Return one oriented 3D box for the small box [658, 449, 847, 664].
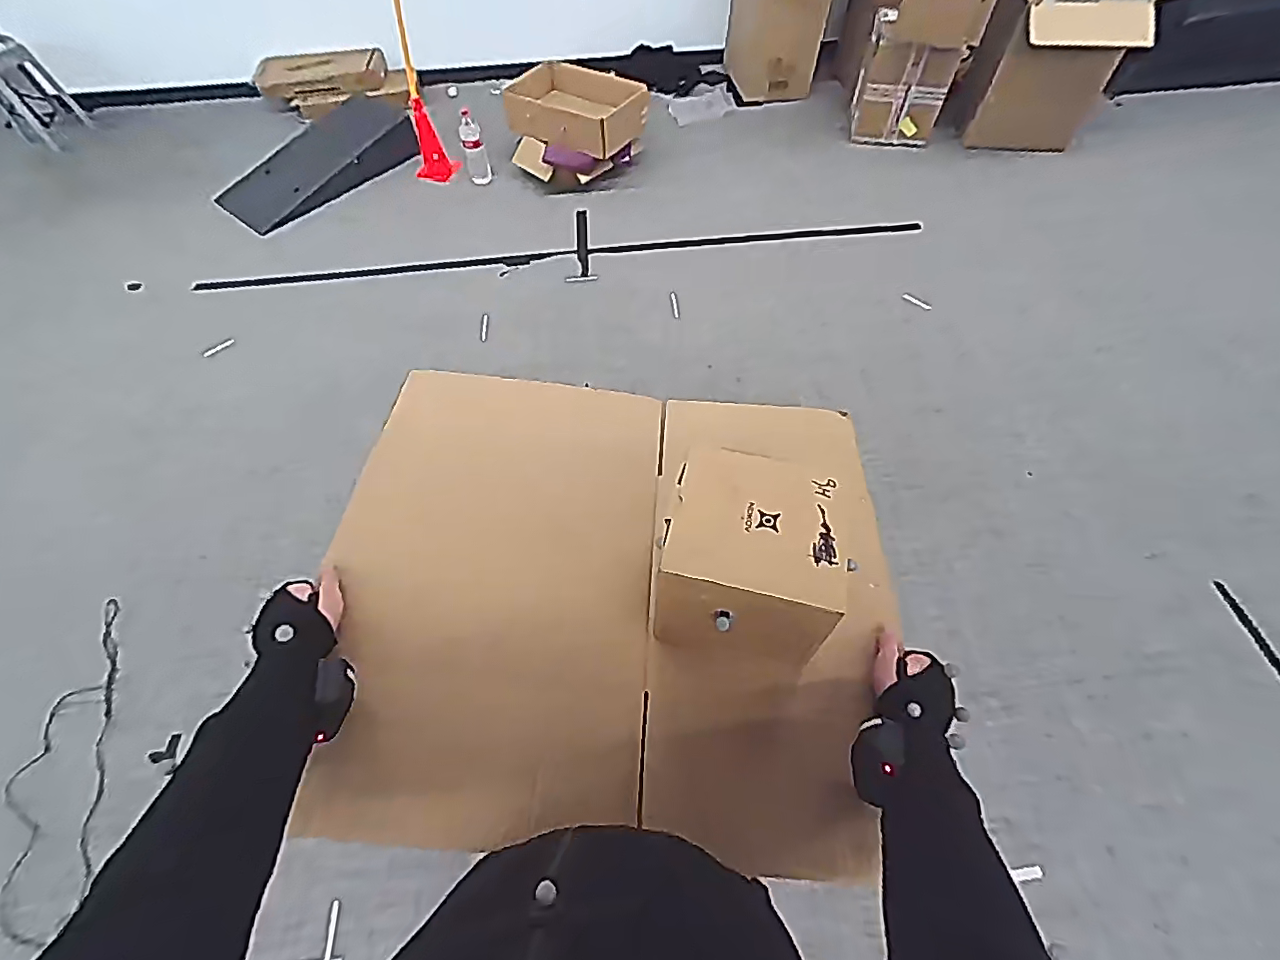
[{"bbox_3d":[0.122,0.091,0.614,0.179,0.176,0.168,11,55,9],"label":"small box"}]
